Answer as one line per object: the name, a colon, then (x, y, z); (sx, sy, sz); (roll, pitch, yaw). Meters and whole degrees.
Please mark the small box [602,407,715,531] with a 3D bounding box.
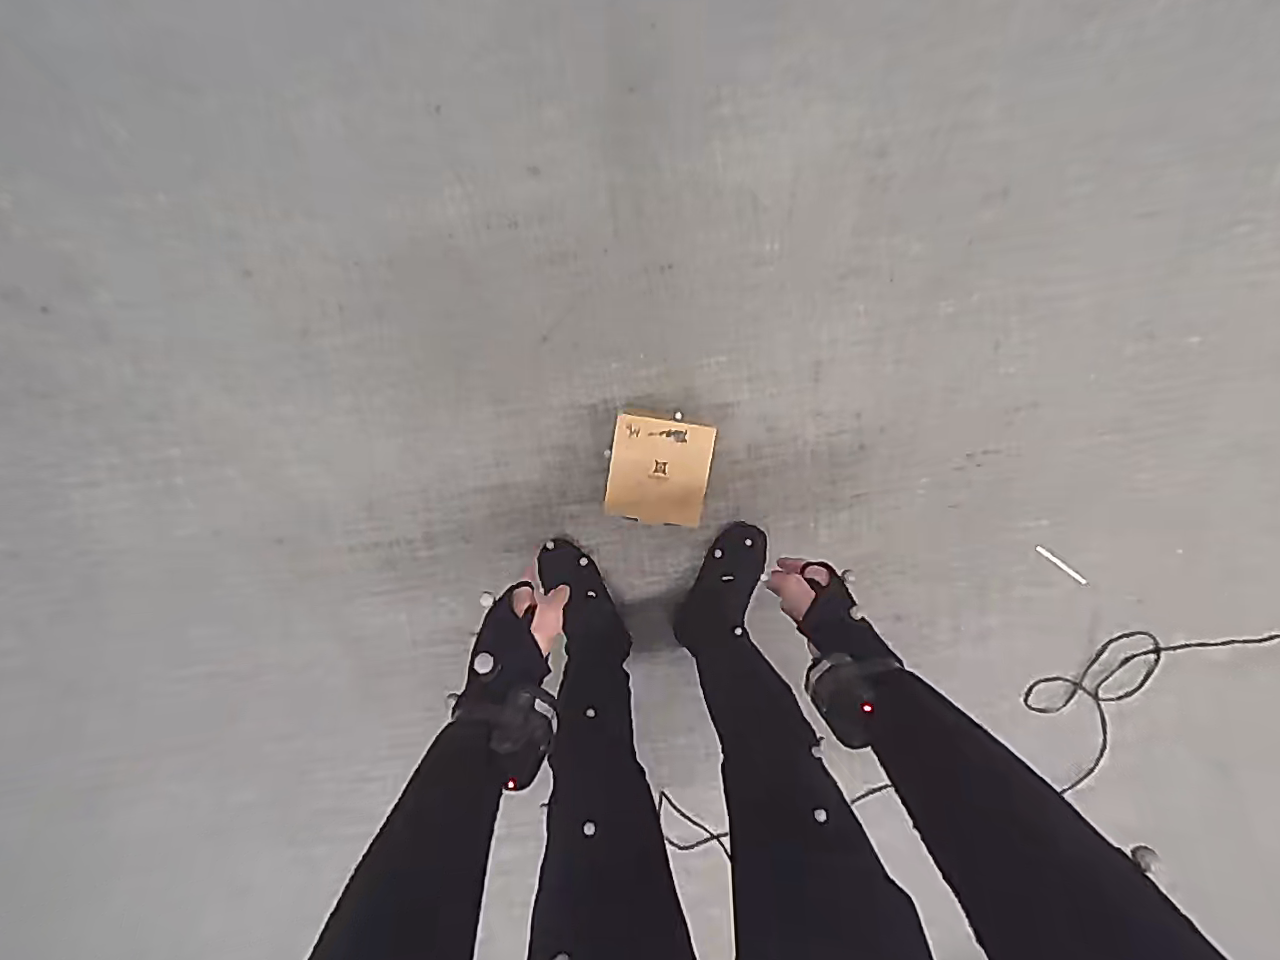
small box: (0.029, -0.026, 0.960); (0.168, 0.176, 0.179); (8, 102, -2)
